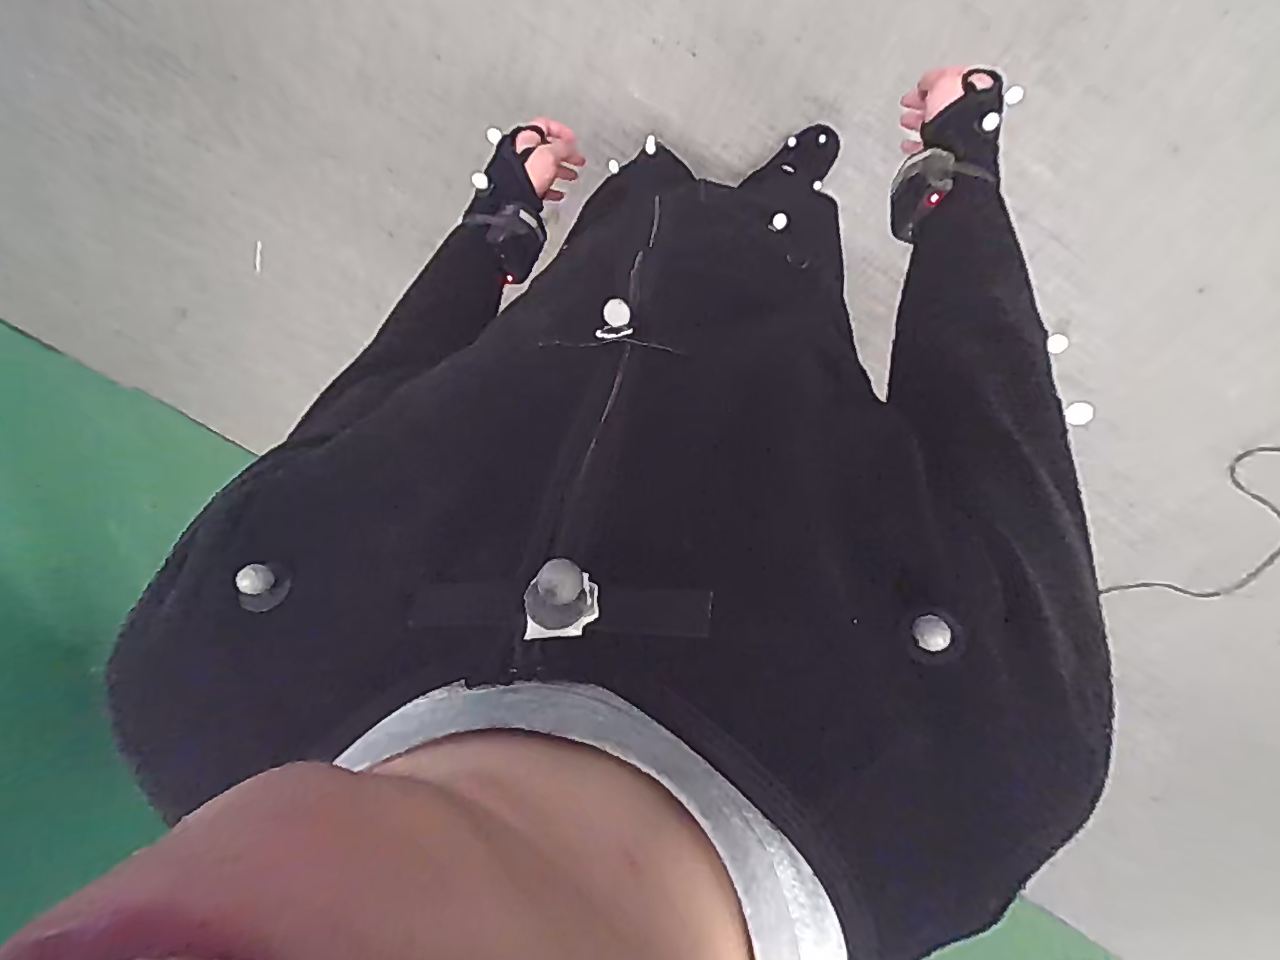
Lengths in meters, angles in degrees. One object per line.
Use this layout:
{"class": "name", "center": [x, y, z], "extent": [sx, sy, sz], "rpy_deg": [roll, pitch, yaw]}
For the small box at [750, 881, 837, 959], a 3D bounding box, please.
{"class": "small box", "center": [0.427, 1.248, 1.488], "extent": [0.168, 0.176, 0.179], "rpy_deg": [31, 126, -5]}
